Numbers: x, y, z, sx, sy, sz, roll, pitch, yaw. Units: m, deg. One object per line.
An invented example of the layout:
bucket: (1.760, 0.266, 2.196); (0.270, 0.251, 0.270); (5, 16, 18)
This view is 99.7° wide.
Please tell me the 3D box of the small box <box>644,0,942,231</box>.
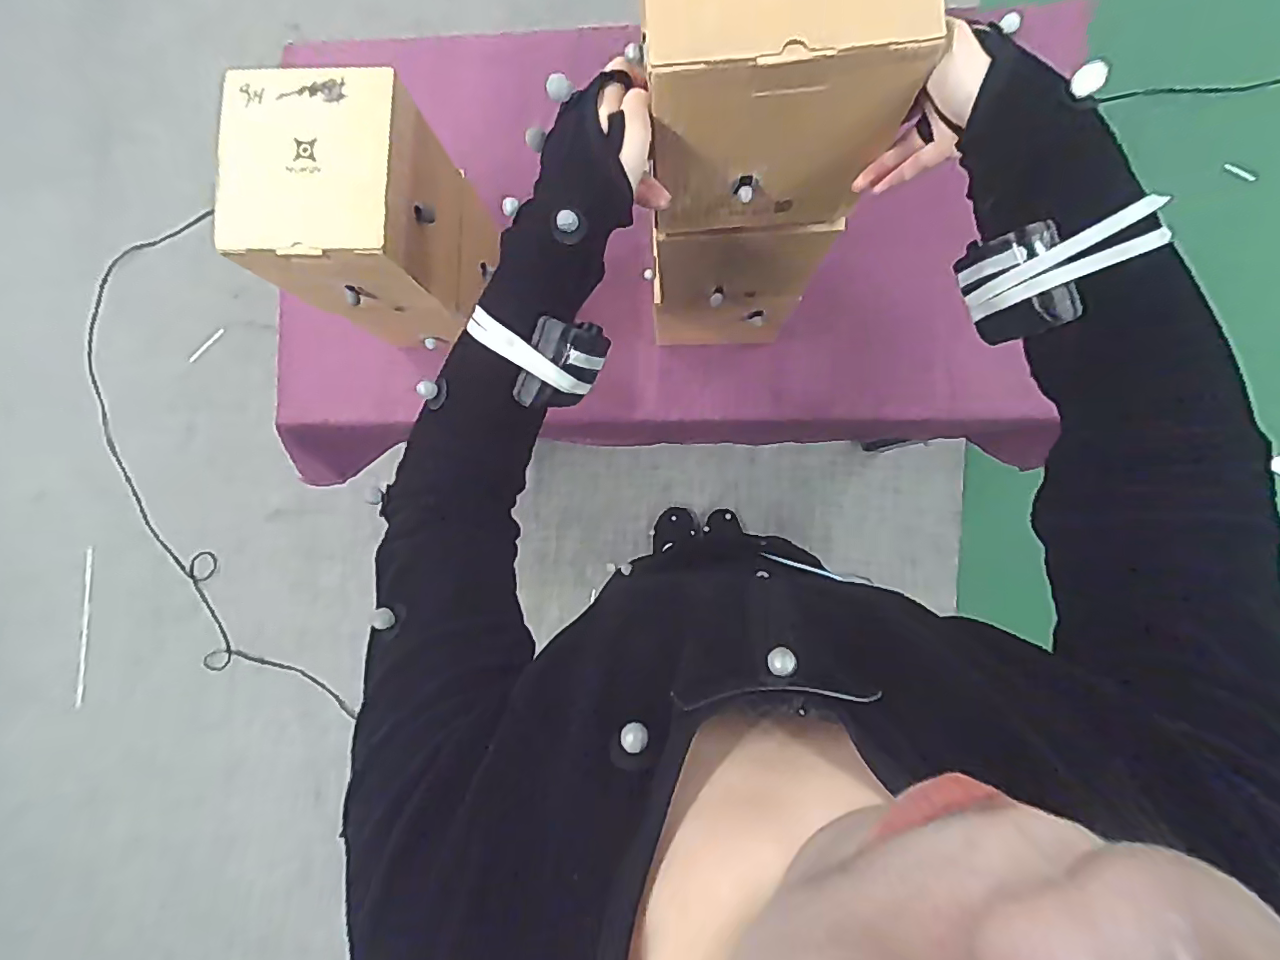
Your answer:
small box: (0.088, -0.313, 0.394); (0.168, 0.176, 0.179); (-4, 85, 3)

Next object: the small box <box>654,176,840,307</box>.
small box: (0.098, -0.297, 0.562); (0.168, 0.176, 0.179); (-1, 88, 4)

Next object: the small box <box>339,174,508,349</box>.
small box: (-0.289, -0.293, 0.750); (0.168, 0.176, 0.179); (2, 88, 4)

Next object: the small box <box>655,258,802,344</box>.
small box: (0.109, -0.287, 0.724); (0.179, 0.176, 0.168); (0, 87, 4)

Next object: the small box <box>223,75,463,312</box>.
small box: (-0.304, -0.292, 0.586); (0.168, 0.176, 0.179); (2, 88, 3)
